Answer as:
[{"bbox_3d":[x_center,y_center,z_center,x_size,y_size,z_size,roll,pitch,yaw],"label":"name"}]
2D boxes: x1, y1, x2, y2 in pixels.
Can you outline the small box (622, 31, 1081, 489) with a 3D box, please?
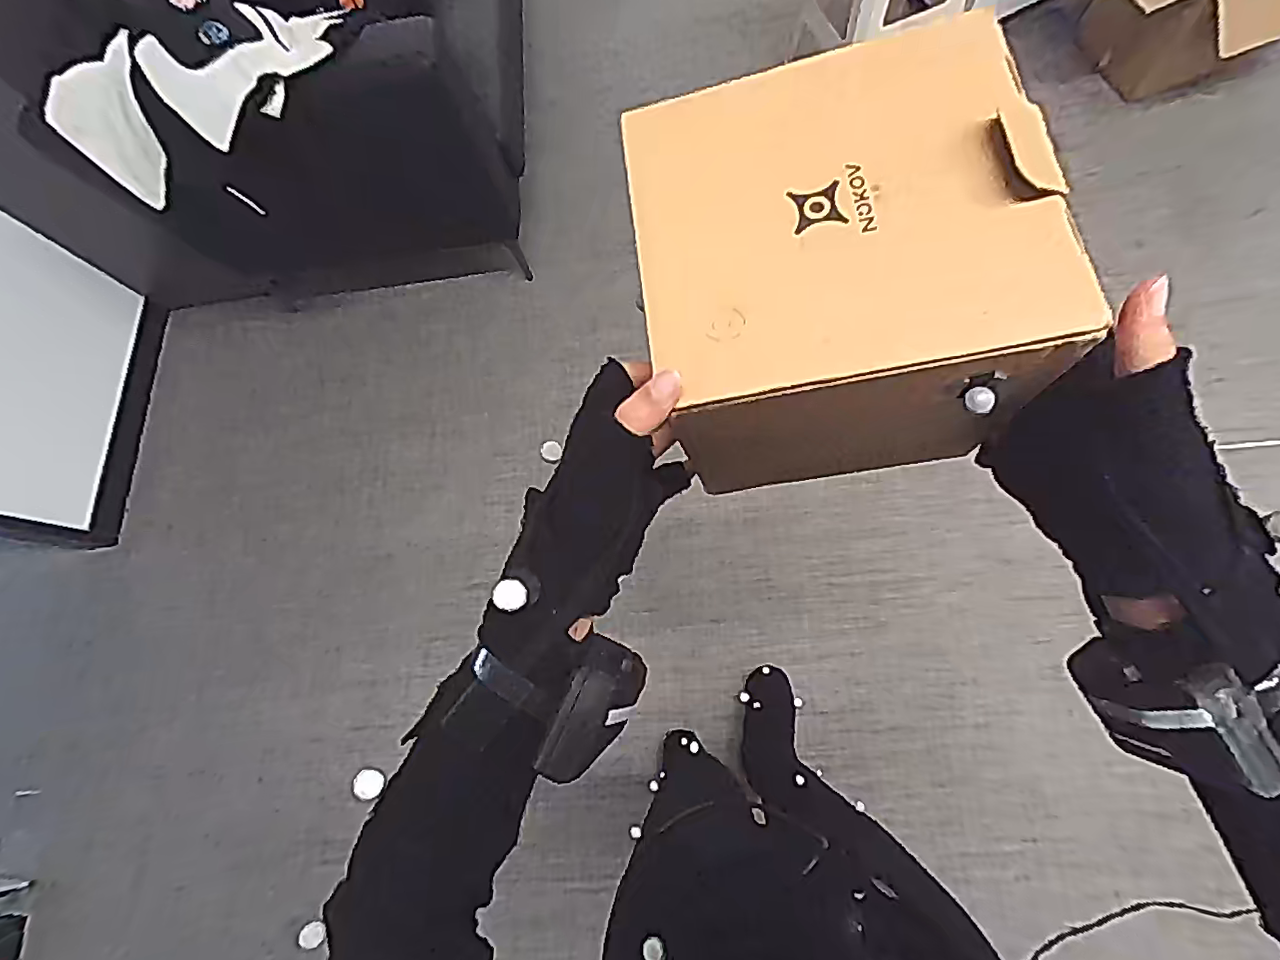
[{"bbox_3d":[0.101,-0.100,0.324,0.179,0.176,0.168,-10,74,11],"label":"small box"}]
